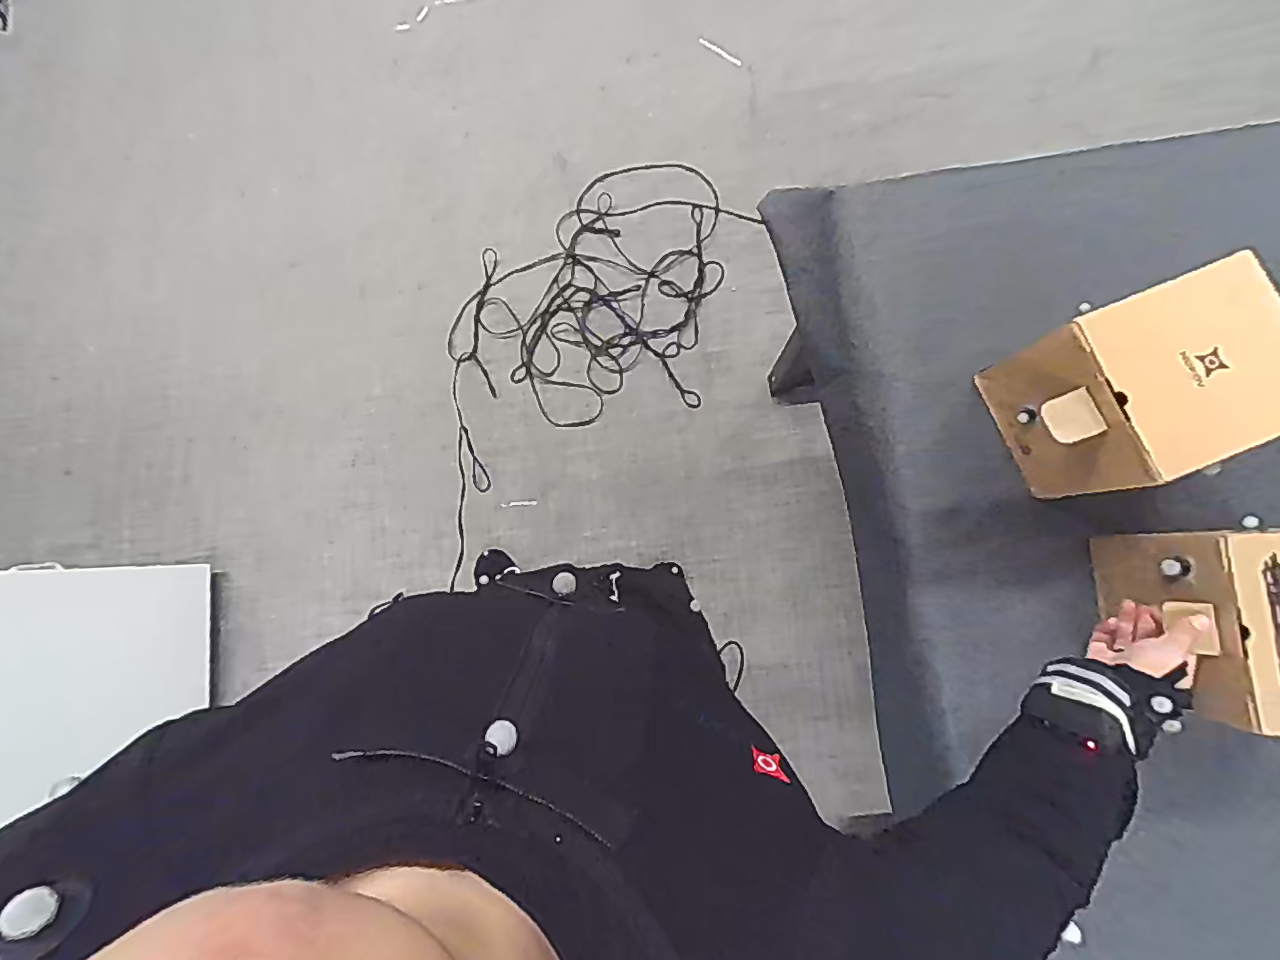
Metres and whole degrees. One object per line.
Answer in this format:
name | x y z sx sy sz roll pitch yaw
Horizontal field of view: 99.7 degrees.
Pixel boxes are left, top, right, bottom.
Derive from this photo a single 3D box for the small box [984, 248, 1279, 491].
small box | 0.513 -0.098 0.561 0.179 0.176 0.168 -23 83 1
